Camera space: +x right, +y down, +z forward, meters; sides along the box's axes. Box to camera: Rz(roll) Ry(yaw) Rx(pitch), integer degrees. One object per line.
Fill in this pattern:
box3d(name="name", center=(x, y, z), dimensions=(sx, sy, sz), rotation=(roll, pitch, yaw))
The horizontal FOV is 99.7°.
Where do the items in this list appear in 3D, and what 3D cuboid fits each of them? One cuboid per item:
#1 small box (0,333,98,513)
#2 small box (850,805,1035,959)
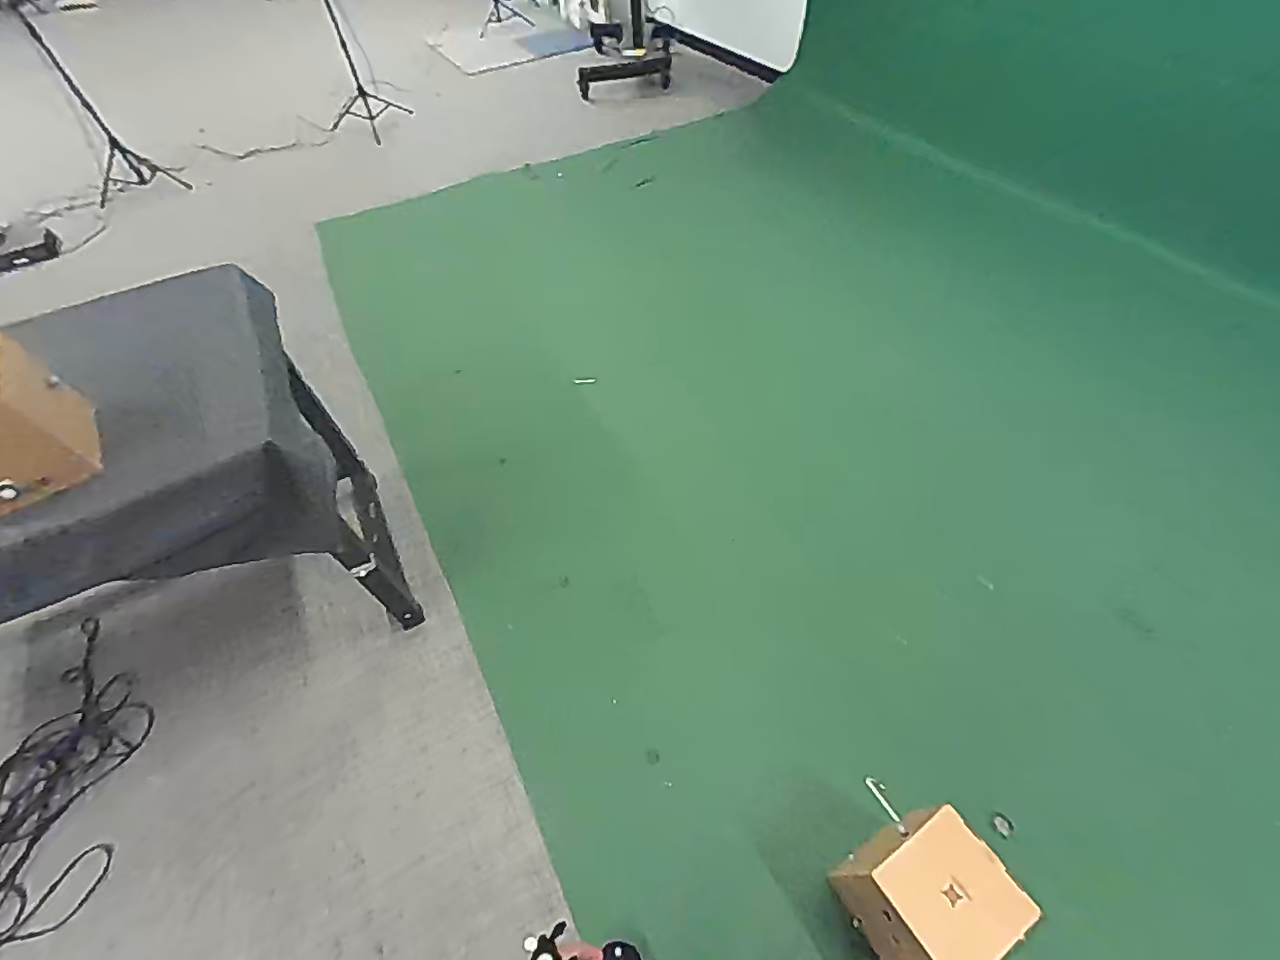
box3d(name="small box", center=(-0.930, -0.075, 0.764), dimensions=(0.168, 0.176, 0.179), rotation=(-33, 59, -19))
box3d(name="small box", center=(0.460, 0.657, 0.857), dimensions=(0.179, 0.176, 0.168), rotation=(-28, 56, -18))
